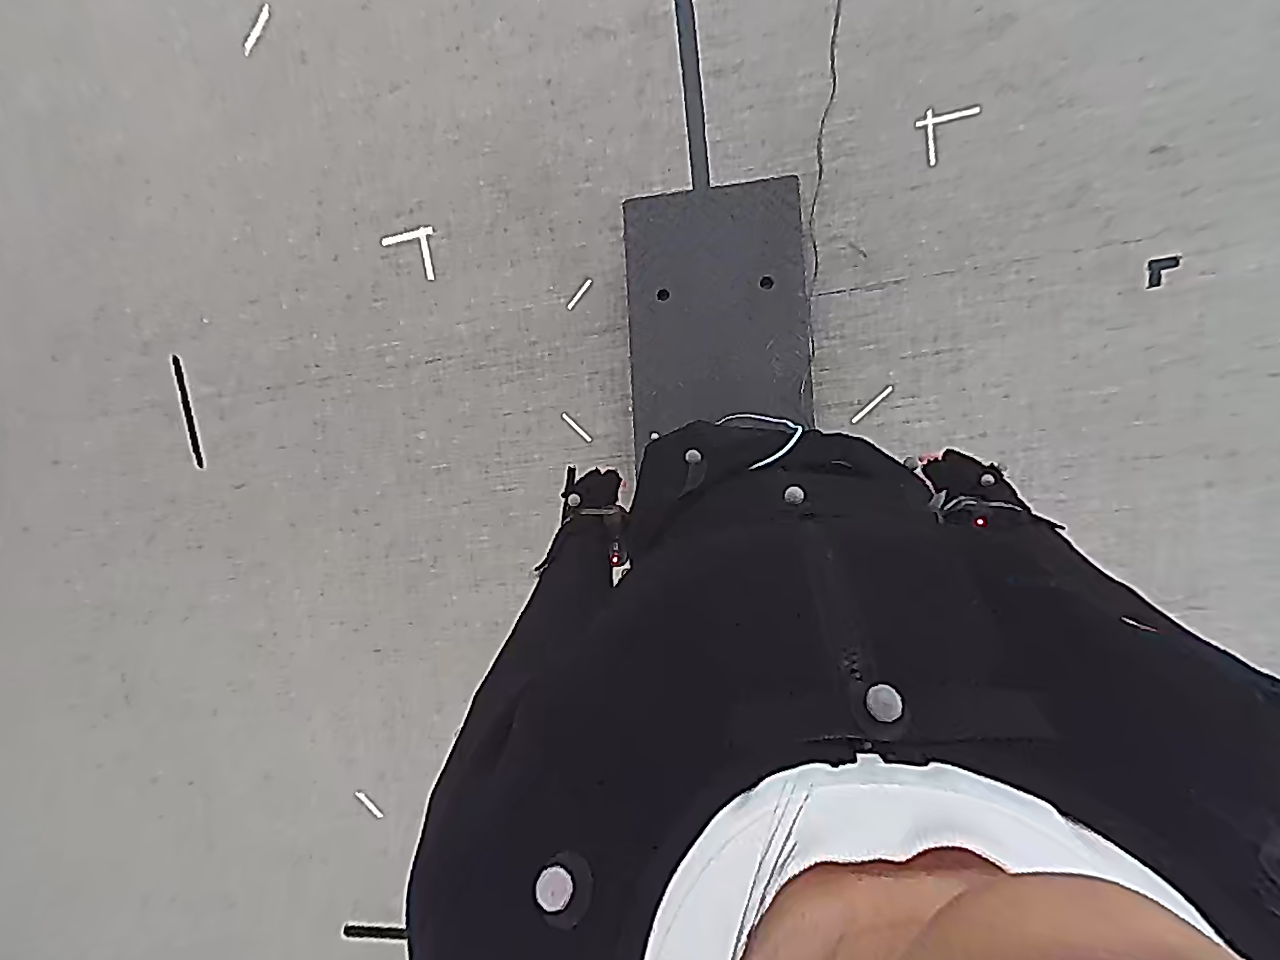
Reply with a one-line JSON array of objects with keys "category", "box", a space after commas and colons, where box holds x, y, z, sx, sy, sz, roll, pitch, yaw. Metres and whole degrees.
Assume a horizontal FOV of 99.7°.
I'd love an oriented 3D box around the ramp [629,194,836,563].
[{"category": "ramp", "box": [0.237, -0.283, 1.501, 0.509, 0.206, 0.991, -7, 94, 12]}]
